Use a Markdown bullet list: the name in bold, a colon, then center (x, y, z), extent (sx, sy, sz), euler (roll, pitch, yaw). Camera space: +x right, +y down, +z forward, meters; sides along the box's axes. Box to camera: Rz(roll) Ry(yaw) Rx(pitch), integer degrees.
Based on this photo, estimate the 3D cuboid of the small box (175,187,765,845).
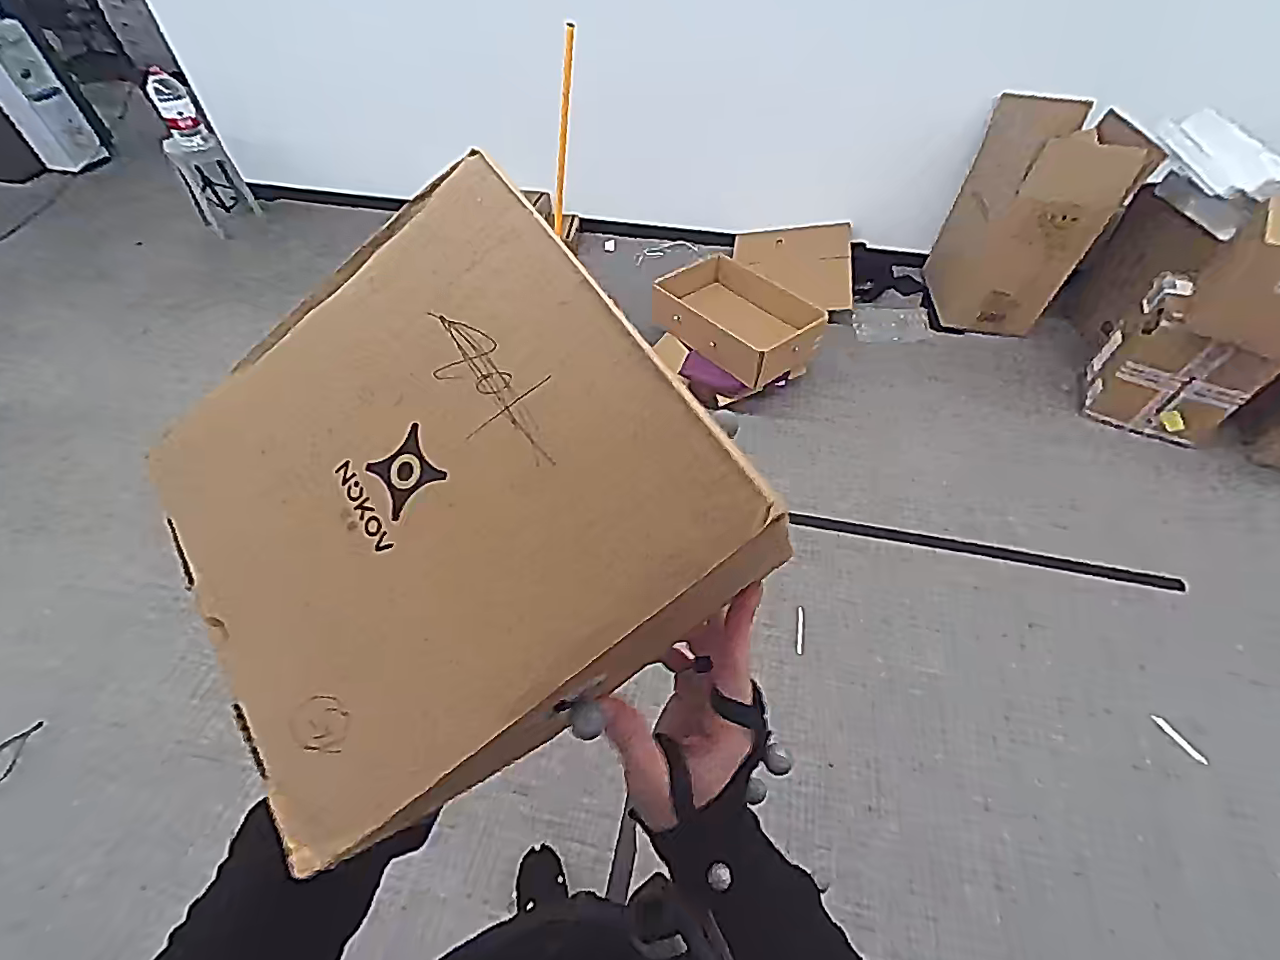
- **small box**: center (-0.056, 0.018, 0.262), extent (0.179, 0.176, 0.168), euler (-40, 72, 5)
